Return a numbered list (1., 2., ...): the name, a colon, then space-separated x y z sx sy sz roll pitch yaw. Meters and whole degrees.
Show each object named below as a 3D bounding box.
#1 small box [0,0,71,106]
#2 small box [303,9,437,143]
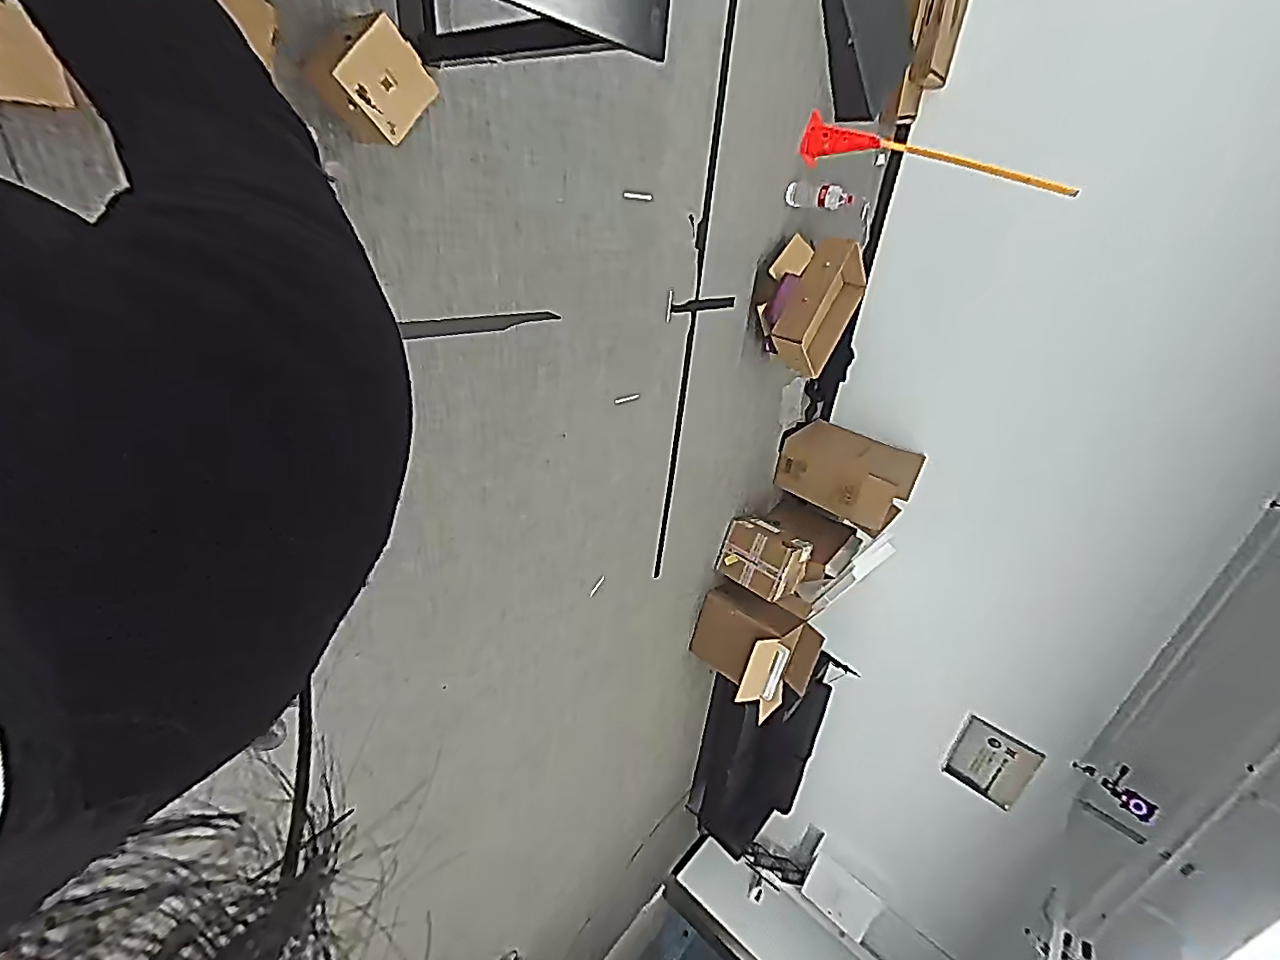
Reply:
1. small box: -0.993 -0.668 0.792 0.168 0.176 0.179 -24 132 -43
2. small box: -0.594 -0.878 1.184 0.179 0.176 0.168 -58 146 -8
